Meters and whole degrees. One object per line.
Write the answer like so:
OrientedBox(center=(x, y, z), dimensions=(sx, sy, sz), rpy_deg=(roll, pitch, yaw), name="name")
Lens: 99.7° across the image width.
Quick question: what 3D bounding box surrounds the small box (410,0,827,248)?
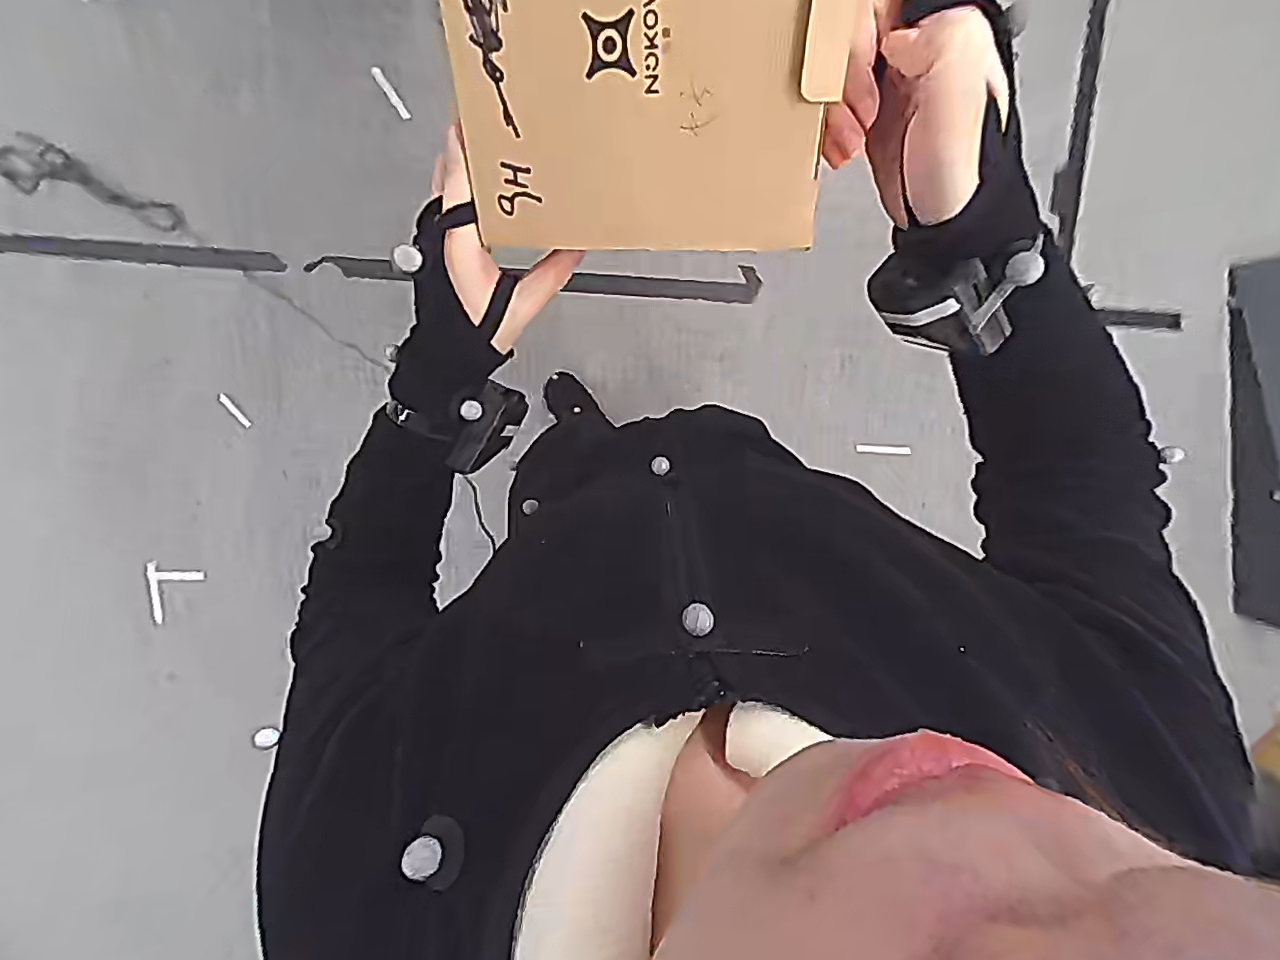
OrientedBox(center=(0.002, -0.229, 0.290), dimensions=(0.179, 0.176, 0.168), rpy_deg=(5, 123, 11), name="small box")
